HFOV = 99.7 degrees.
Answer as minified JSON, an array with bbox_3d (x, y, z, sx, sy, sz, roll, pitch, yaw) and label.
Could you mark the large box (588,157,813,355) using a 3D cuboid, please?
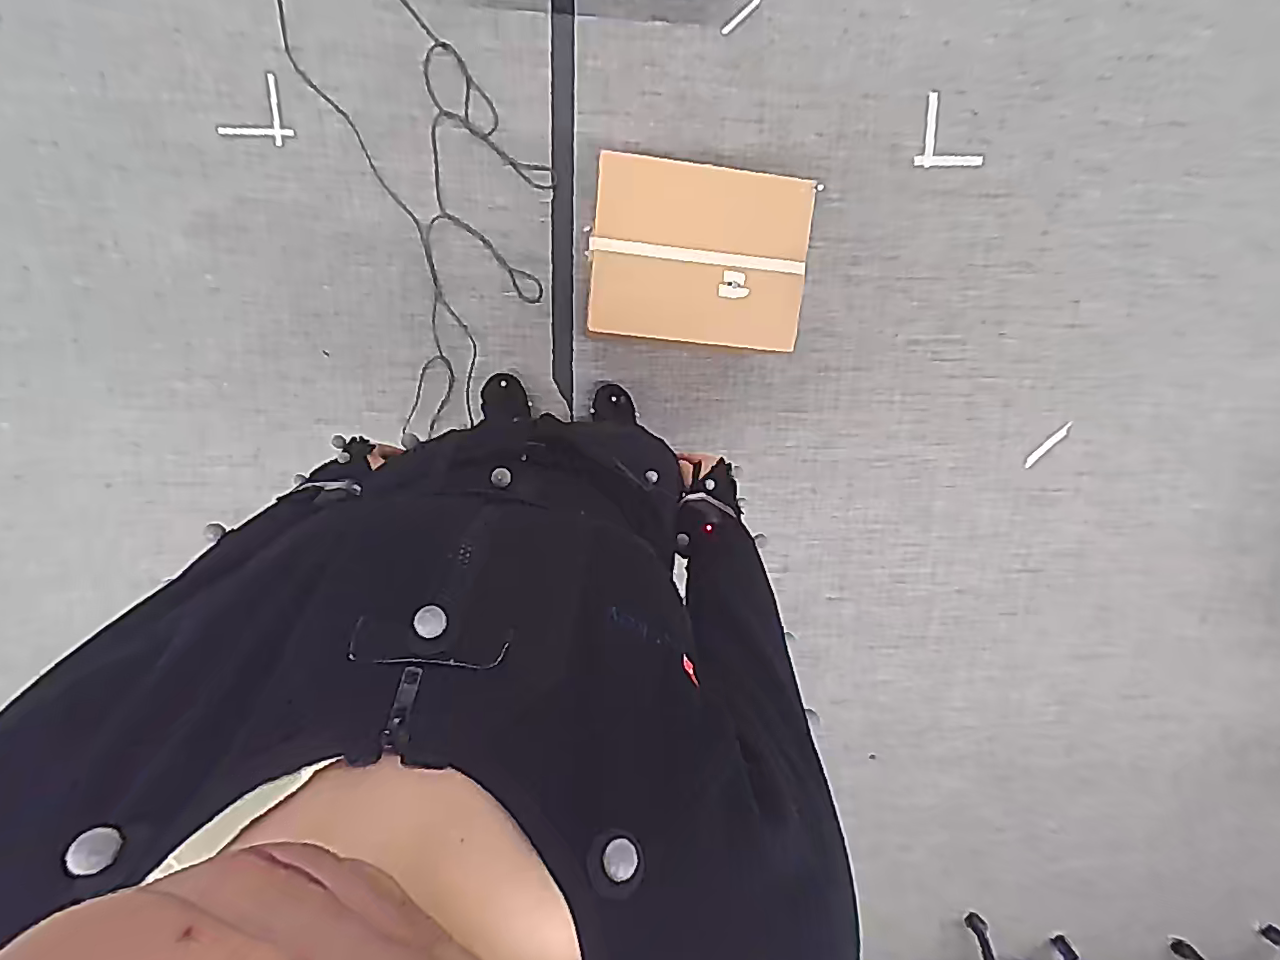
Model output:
[{"bbox_3d":[0.097,-0.441,1.151,0.408,0.320,0.320,4,102,-8],"label":"large box"}]
